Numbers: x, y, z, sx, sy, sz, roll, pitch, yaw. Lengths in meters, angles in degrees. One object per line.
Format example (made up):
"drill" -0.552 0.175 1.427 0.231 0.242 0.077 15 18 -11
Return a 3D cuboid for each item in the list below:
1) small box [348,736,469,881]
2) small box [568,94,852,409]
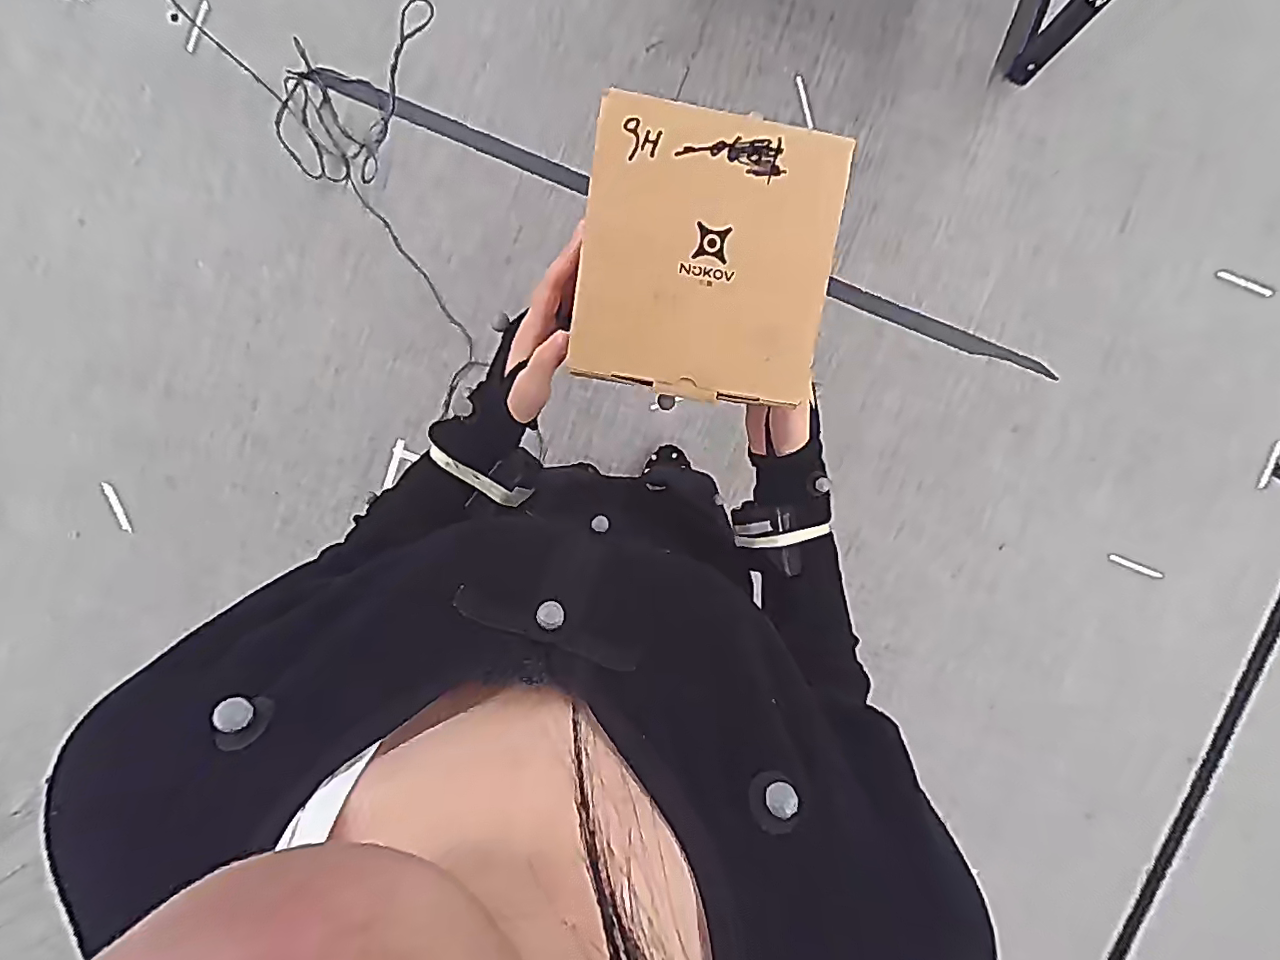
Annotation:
"small box" -0.432 0.608 0.993 0.168 0.176 0.179 17 94 1
"small box" 0.041 -0.161 0.439 0.168 0.176 0.179 9 100 -5
